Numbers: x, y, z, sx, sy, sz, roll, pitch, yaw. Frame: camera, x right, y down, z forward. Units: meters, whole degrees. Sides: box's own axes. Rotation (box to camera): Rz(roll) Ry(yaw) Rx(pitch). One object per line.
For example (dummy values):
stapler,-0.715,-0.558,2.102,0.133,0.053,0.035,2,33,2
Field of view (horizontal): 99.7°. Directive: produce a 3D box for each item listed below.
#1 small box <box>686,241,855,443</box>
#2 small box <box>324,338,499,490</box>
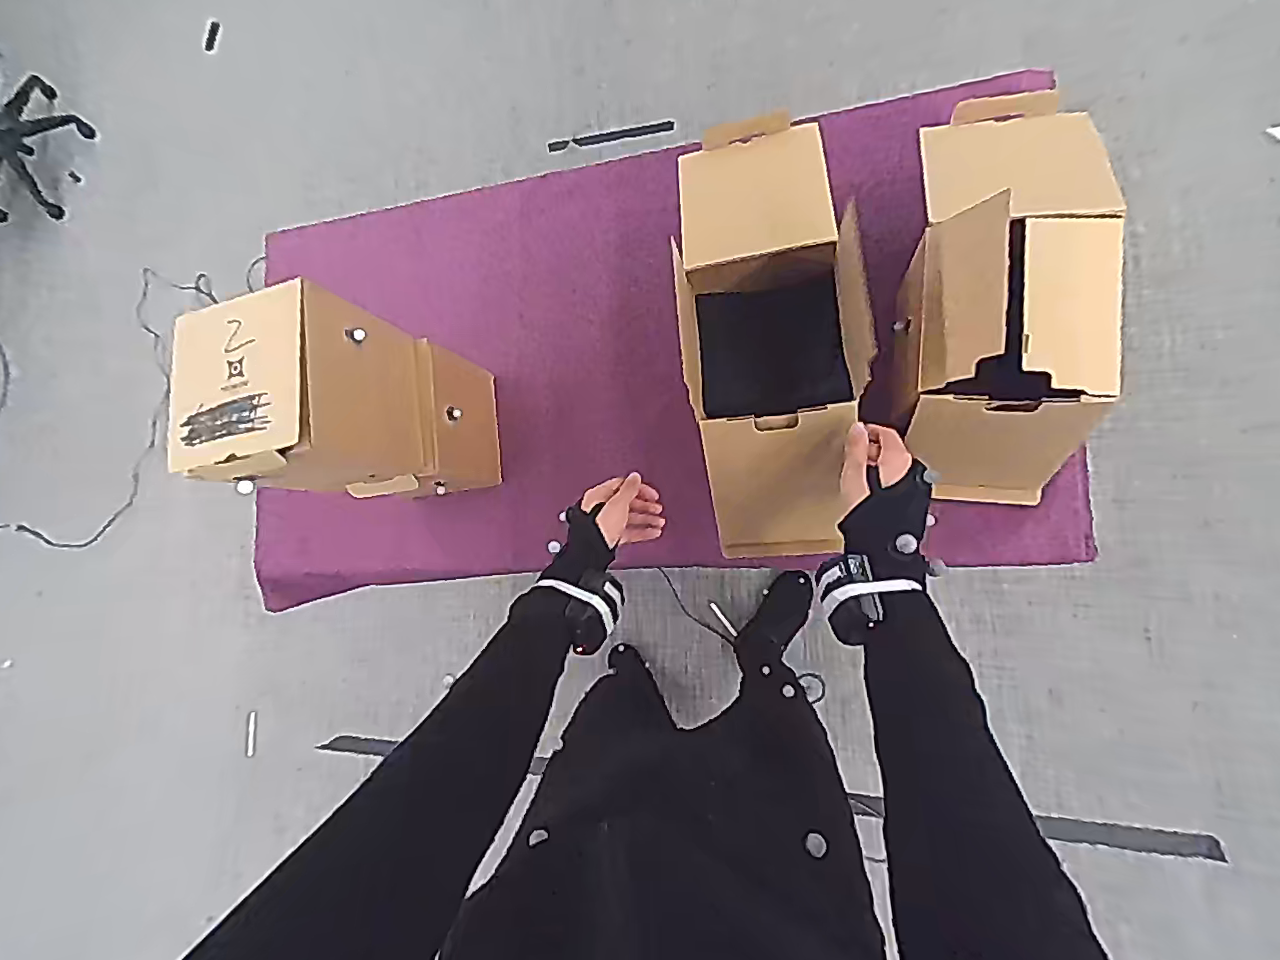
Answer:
small box,0.154,-0.149,0.646,0.168,0.176,0.179,-6,84,16
small box,-0.315,-0.080,0.769,0.168,0.176,0.179,-7,83,14
